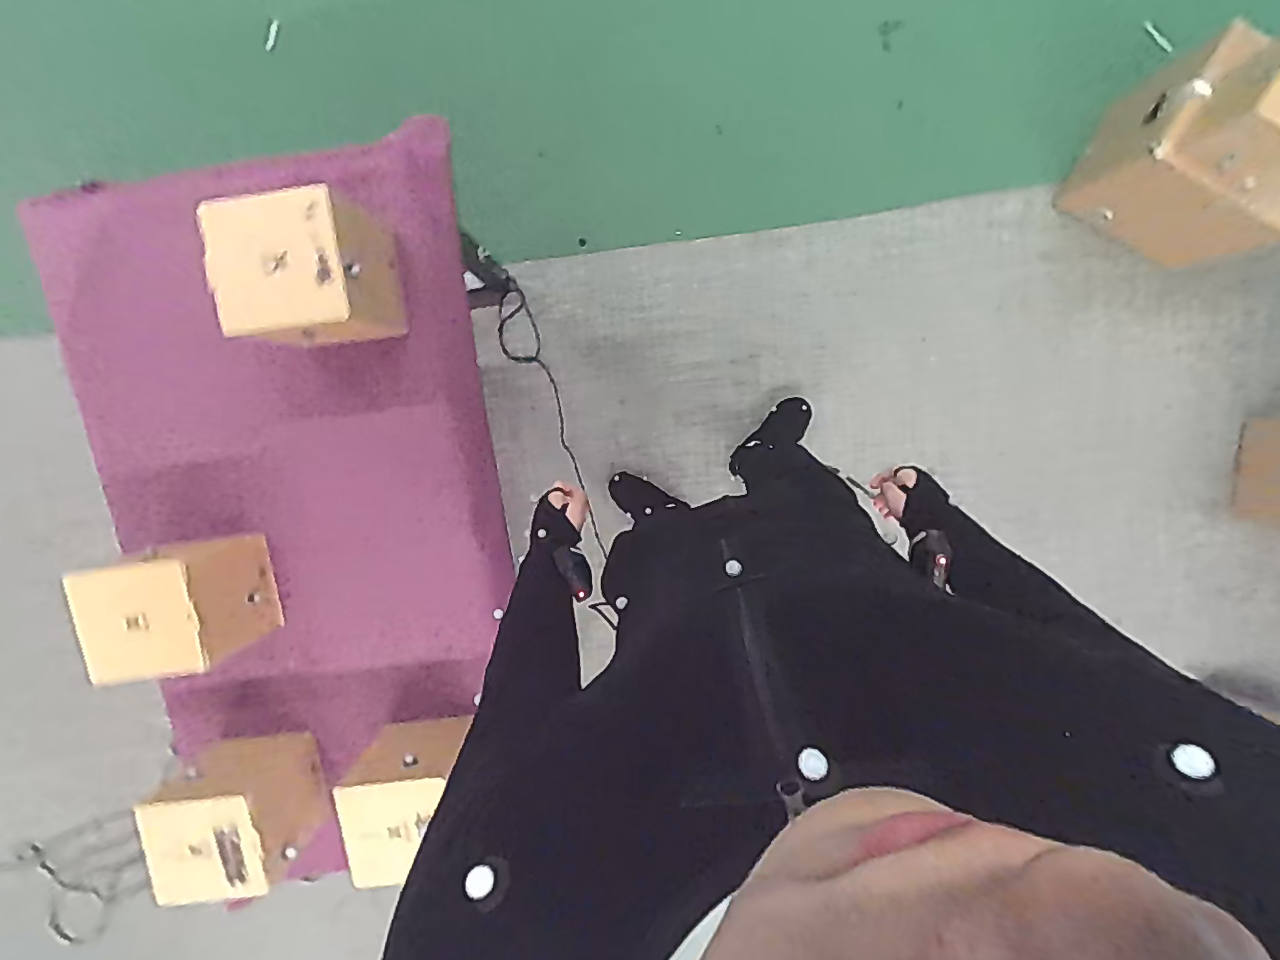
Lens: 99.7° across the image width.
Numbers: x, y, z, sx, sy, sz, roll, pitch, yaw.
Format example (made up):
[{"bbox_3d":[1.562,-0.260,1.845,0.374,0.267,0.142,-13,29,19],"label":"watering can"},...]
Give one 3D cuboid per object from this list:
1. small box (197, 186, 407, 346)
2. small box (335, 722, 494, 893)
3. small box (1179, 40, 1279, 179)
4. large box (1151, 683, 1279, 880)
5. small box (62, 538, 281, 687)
[{"bbox_3d":[-0.464,-0.289,0.768,0.179,0.176,0.168,-6,98,4],"label":"small box"},{"bbox_3d":[-0.346,0.513,0.870,0.179,0.176,0.168,-8,97,3],"label":"small box"},{"bbox_3d":[1.282,-0.762,1.103,0.168,0.176,0.179,27,98,-3],"label":"small box"},{"bbox_3d":[1.813,0.873,1.557,0.320,0.320,0.408,16,96,-2],"label":"large box"},{"bbox_3d":[-0.708,0.195,0.838,0.179,0.176,0.168,-8,97,1],"label":"small box"}]
